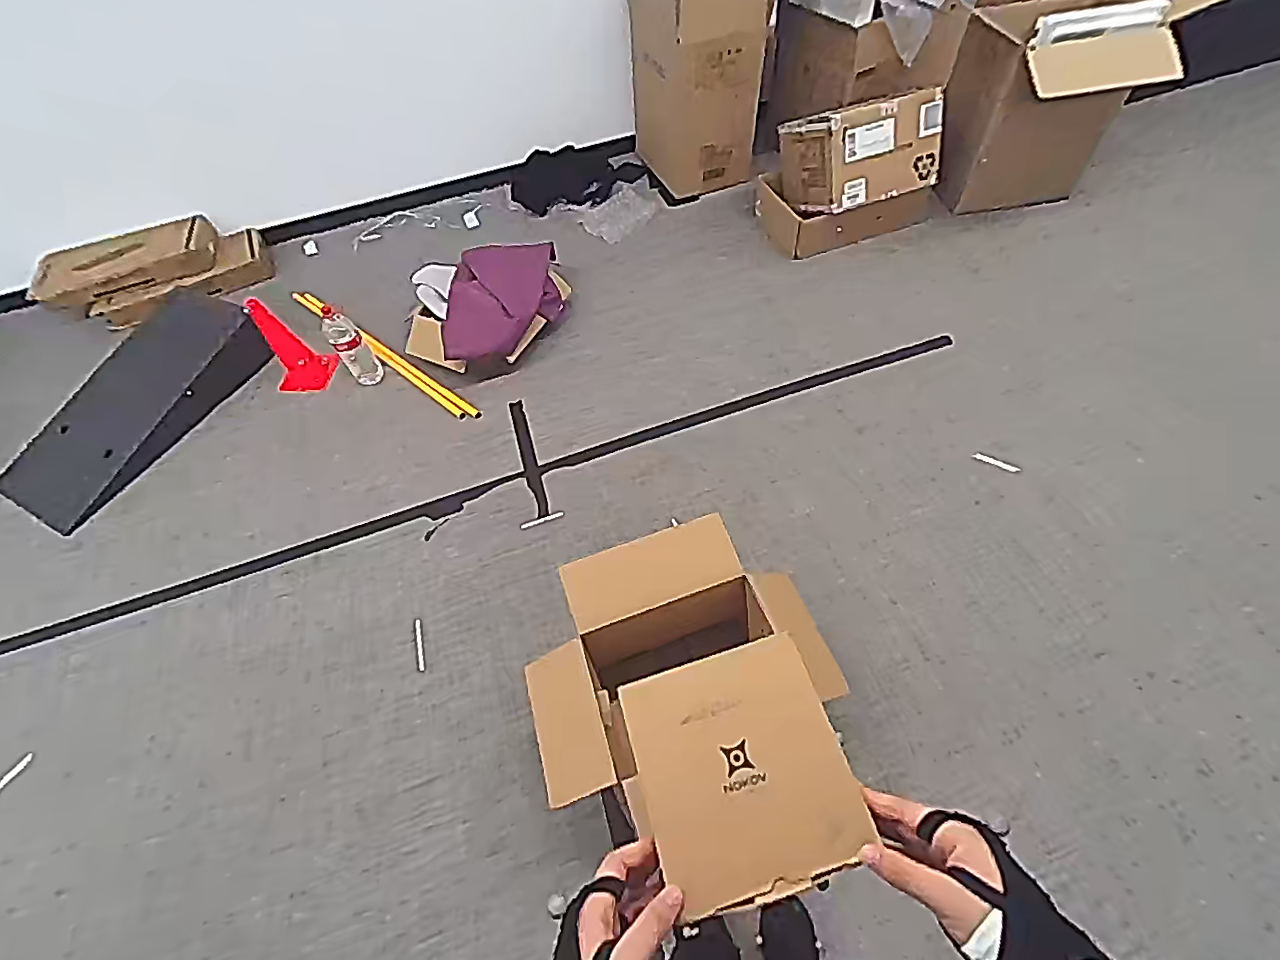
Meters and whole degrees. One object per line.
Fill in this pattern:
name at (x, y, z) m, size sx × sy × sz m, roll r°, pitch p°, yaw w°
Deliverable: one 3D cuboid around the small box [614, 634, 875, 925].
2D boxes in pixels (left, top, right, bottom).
small box at (0.088, 0.273, 0.509) m, size 0.168 × 0.176 × 0.179 m, roll -18°, pitch 57°, yaw -2°
